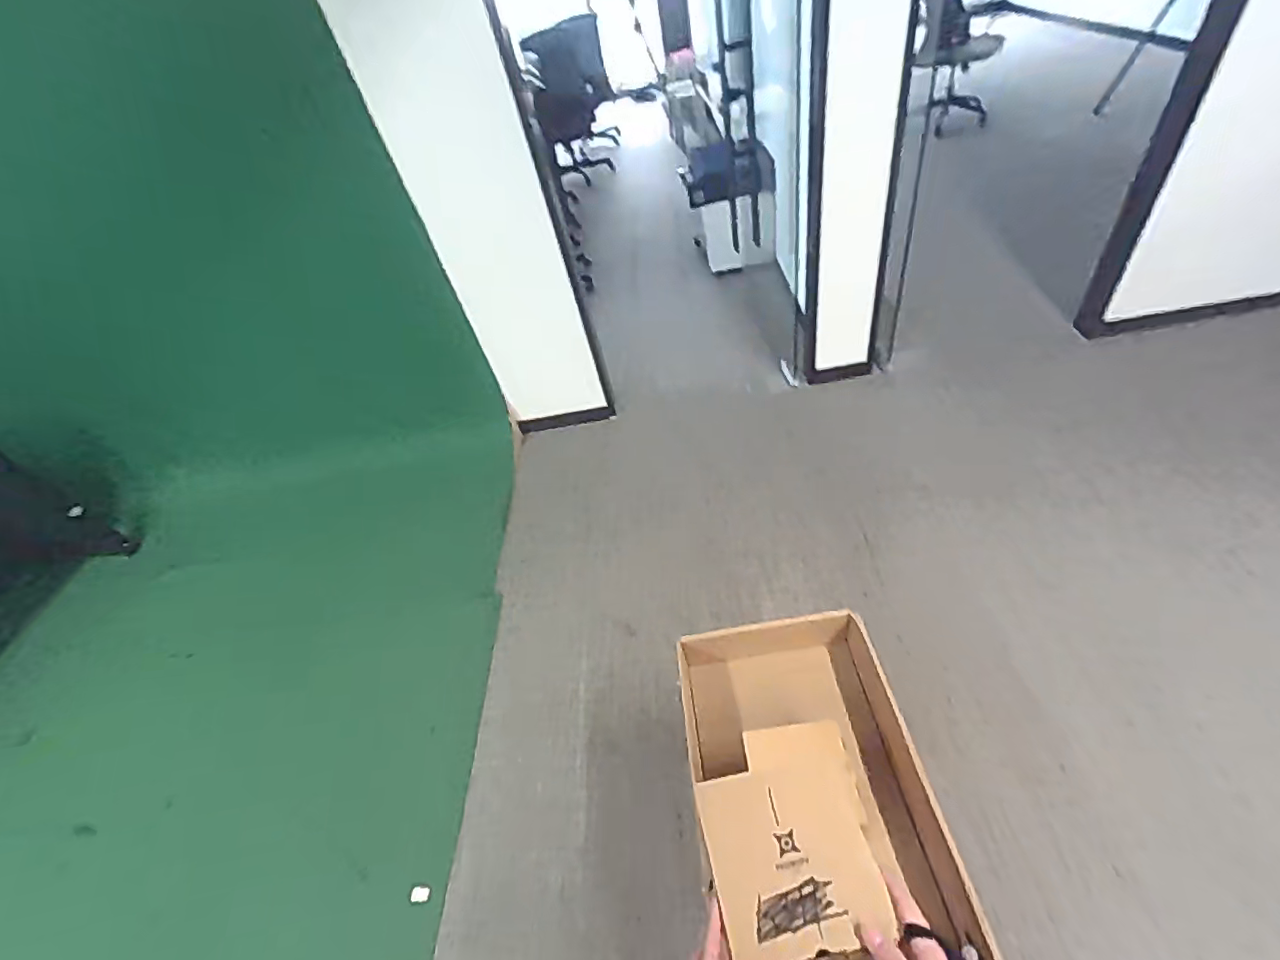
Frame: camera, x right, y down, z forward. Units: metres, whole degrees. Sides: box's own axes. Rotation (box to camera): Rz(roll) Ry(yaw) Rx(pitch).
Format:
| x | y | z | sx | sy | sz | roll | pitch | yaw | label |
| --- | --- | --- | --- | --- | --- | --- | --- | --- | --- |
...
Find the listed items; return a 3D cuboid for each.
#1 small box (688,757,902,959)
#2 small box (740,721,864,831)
| x | y | z | sx | sy | sz | roll | pitch | yaw | label |
| --- | --- | --- | --- | --- | --- | --- | --- | --- | --- |
| 0.156 | 0.449 | 0.600 | 0.168 | 0.176 | 0.179 | -11 | 36 | -4 | small box |
| 0.287 | 0.563 | 0.982 | 0.179 | 0.176 | 0.168 | -10 | 44 | 5 | small box |
